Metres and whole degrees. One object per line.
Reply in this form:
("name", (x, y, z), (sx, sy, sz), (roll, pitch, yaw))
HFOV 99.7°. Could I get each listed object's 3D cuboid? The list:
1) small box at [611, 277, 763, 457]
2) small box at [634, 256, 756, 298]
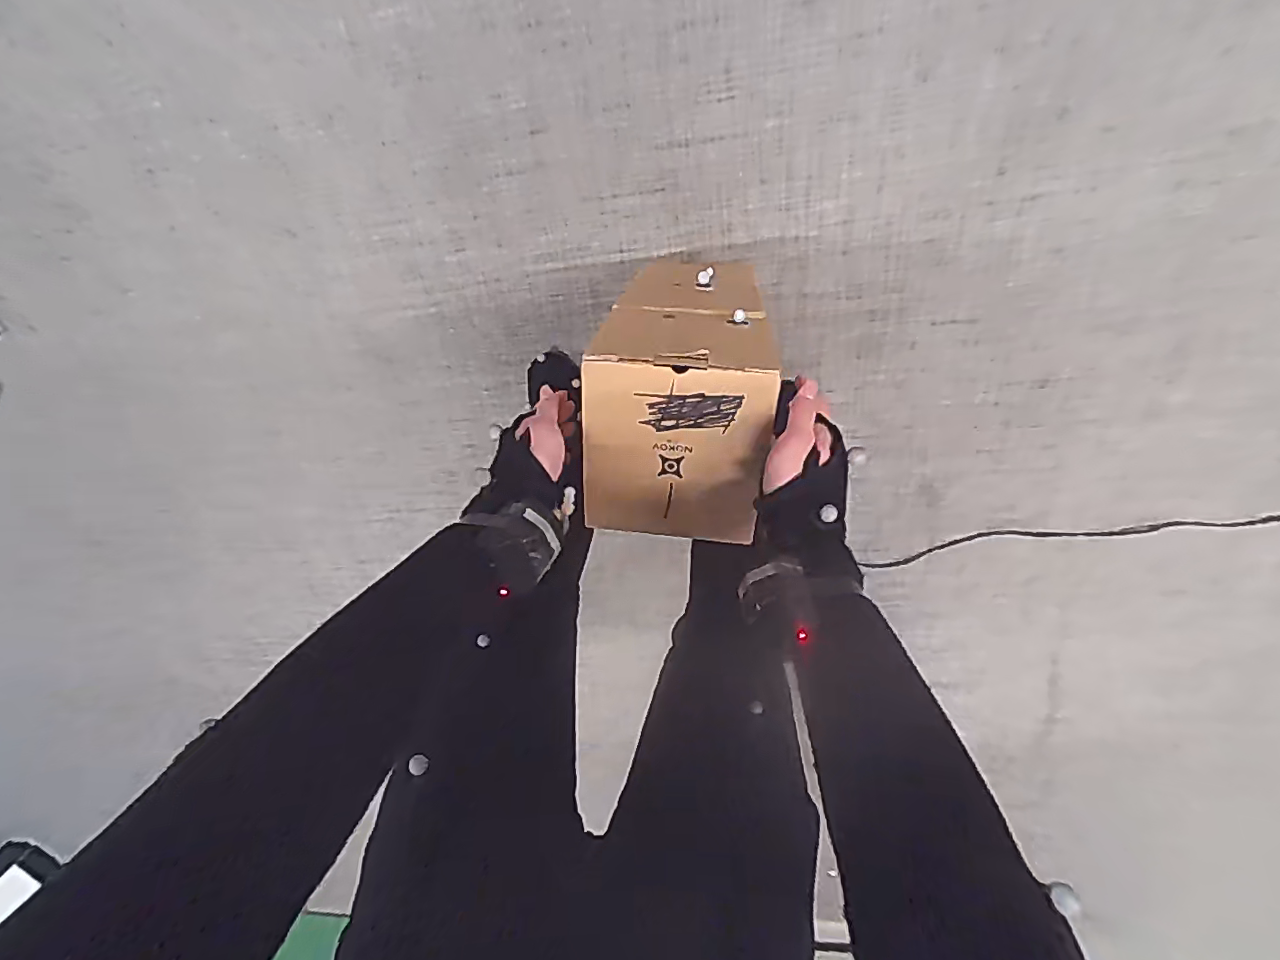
("small box", (0.060, -0.148, 0.685), (0.168, 0.176, 0.179), (4, 120, 6))
("small box", (0.082, -0.230, 0.824), (0.168, 0.176, 0.179), (6, 121, 6))
